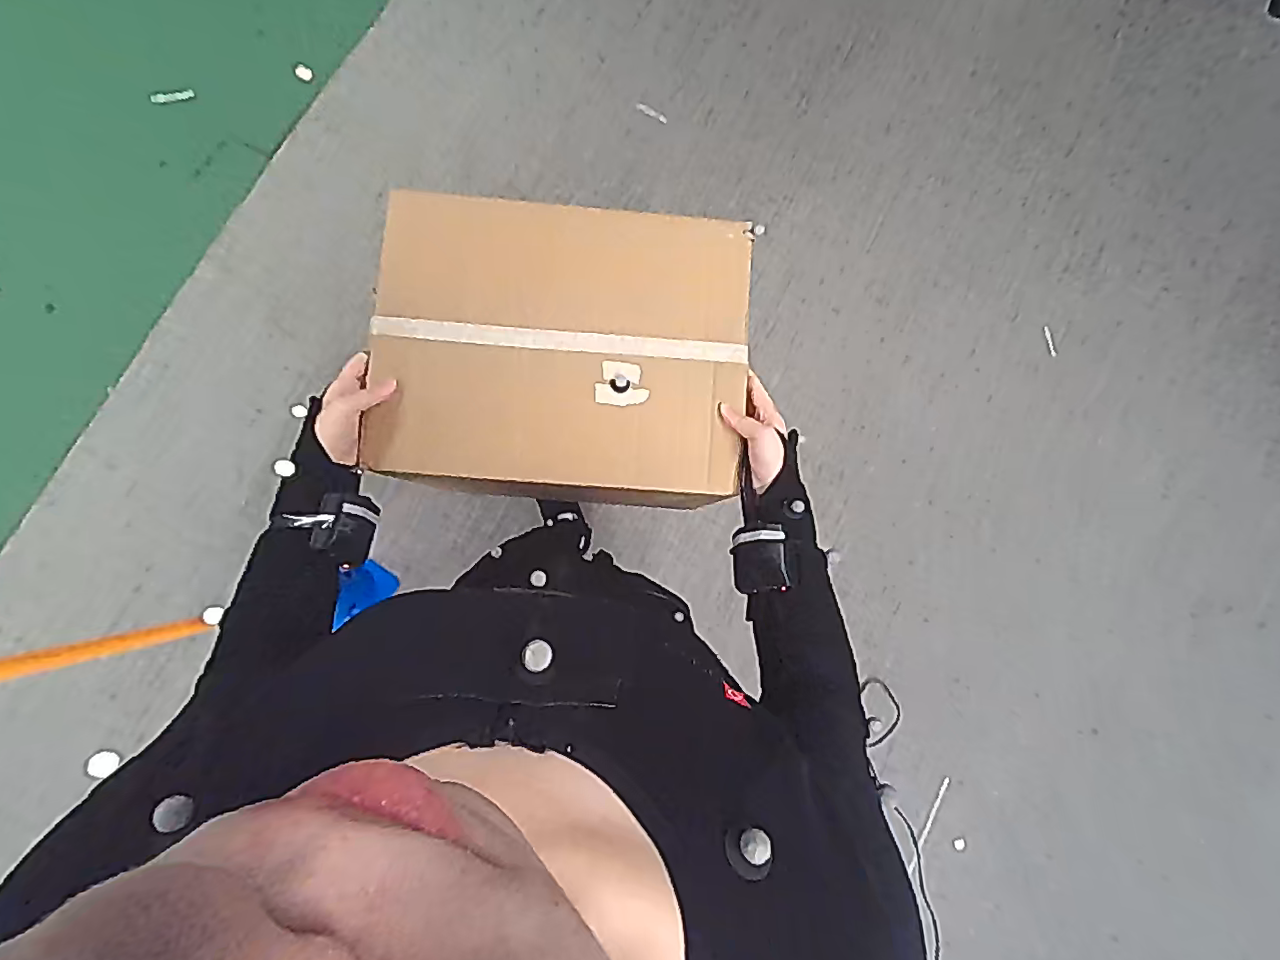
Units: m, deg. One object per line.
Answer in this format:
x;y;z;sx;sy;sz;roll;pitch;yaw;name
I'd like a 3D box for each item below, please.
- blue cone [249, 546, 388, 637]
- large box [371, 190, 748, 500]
-0.776;0.275;1.274;0.192;0.380;0.193;36;82;2;blue cone
-0.092;-0.145;0.743;0.408;0.320;0.320;4;84;-4;large box
